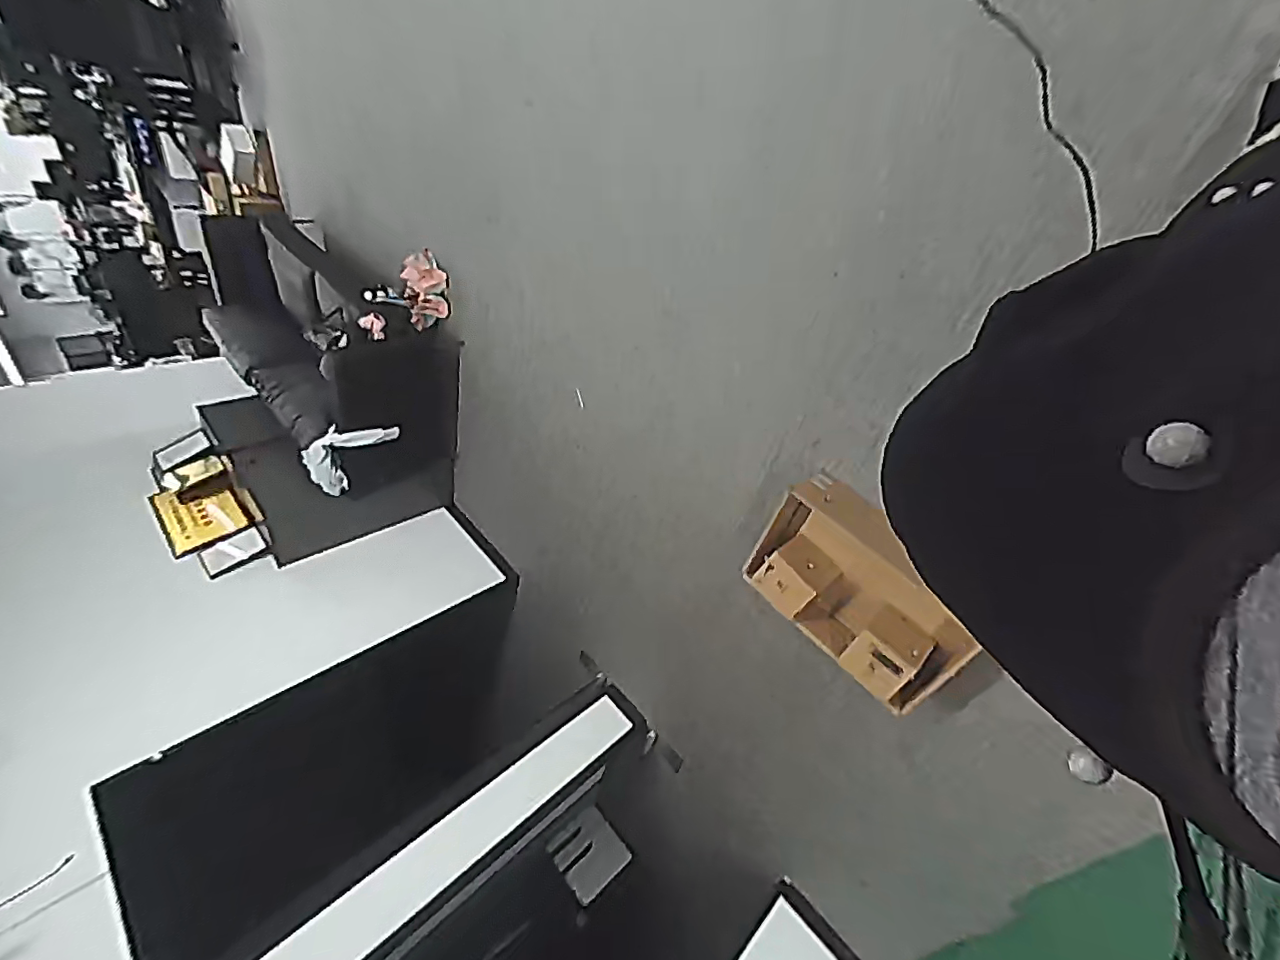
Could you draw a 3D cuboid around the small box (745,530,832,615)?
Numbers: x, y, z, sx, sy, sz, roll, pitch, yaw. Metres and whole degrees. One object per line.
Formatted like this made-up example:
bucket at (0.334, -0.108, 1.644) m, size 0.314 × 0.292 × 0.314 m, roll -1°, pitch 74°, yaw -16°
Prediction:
small box at (0.480, 0.292, 1.733) m, size 0.179 × 0.176 × 0.168 m, roll 47°, pitch 135°, yaw 19°
